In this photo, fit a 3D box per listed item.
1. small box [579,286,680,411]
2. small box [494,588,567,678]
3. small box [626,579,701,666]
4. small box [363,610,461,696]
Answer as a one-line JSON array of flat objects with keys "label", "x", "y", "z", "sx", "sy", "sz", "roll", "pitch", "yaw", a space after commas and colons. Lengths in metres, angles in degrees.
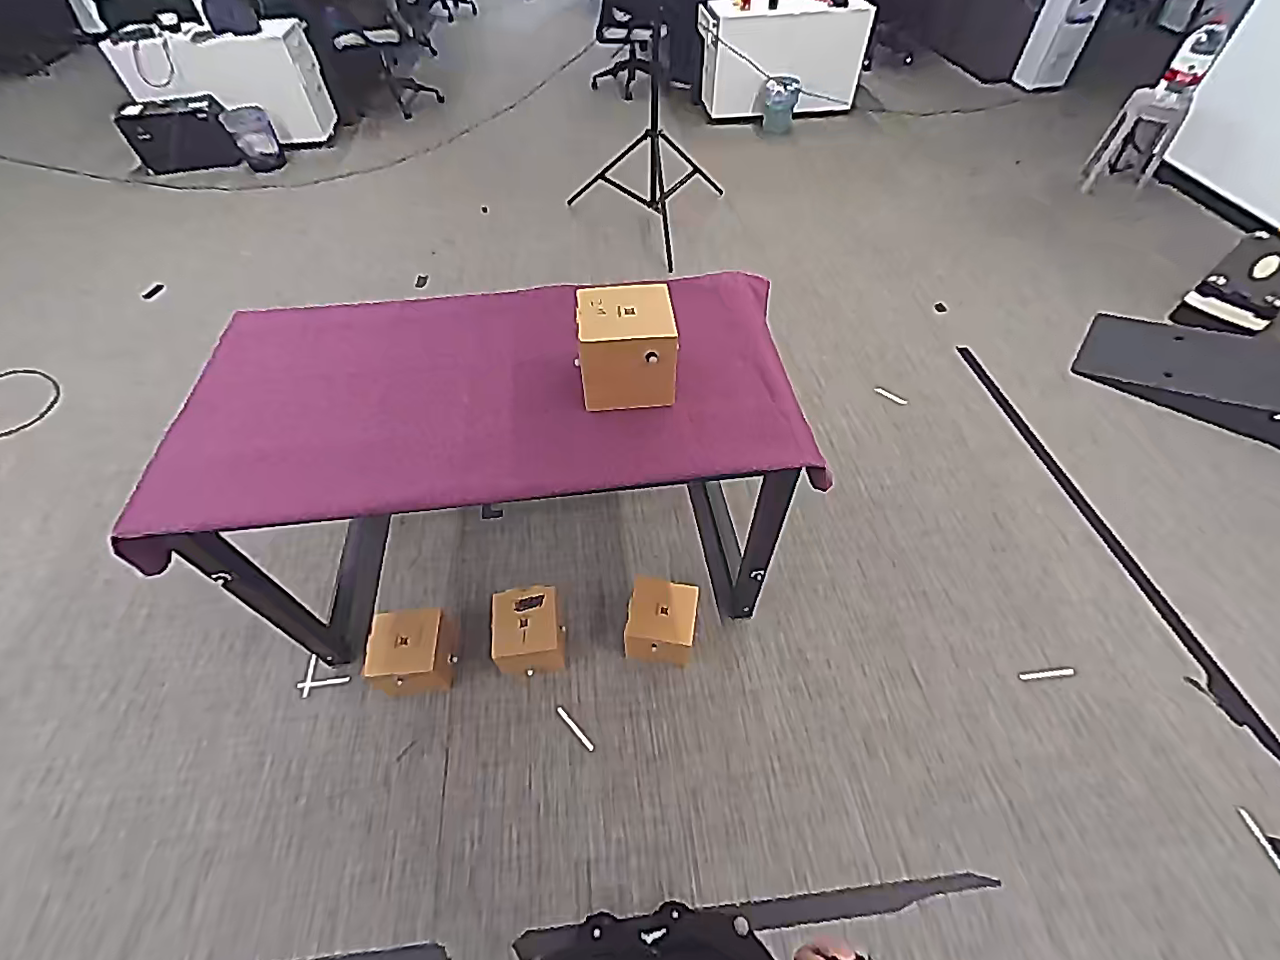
[{"label": "small box", "x": -0.022, "y": -0.250, "z": 1.042, "sx": 0.179, "sy": 0.176, "sz": 0.168, "roll": -5, "pitch": 51, "yaw": -2}, {"label": "small box", "x": -0.291, "y": 0.413, "z": 1.455, "sx": 0.168, "sy": 0.176, "sz": 0.179, "roll": -7, "pitch": 53, "yaw": -4}, {"label": "small box", "x": 0.065, "y": 0.390, "z": 1.468, "sx": 0.179, "sy": 0.176, "sz": 0.168, "roll": 7, "pitch": 53, "yaw": 8}, {"label": "small box", "x": -0.592, "y": 0.460, "z": 1.427, "sx": 0.179, "sy": 0.176, "sz": 0.168, "roll": -3, "pitch": 53, "yaw": -3}]
